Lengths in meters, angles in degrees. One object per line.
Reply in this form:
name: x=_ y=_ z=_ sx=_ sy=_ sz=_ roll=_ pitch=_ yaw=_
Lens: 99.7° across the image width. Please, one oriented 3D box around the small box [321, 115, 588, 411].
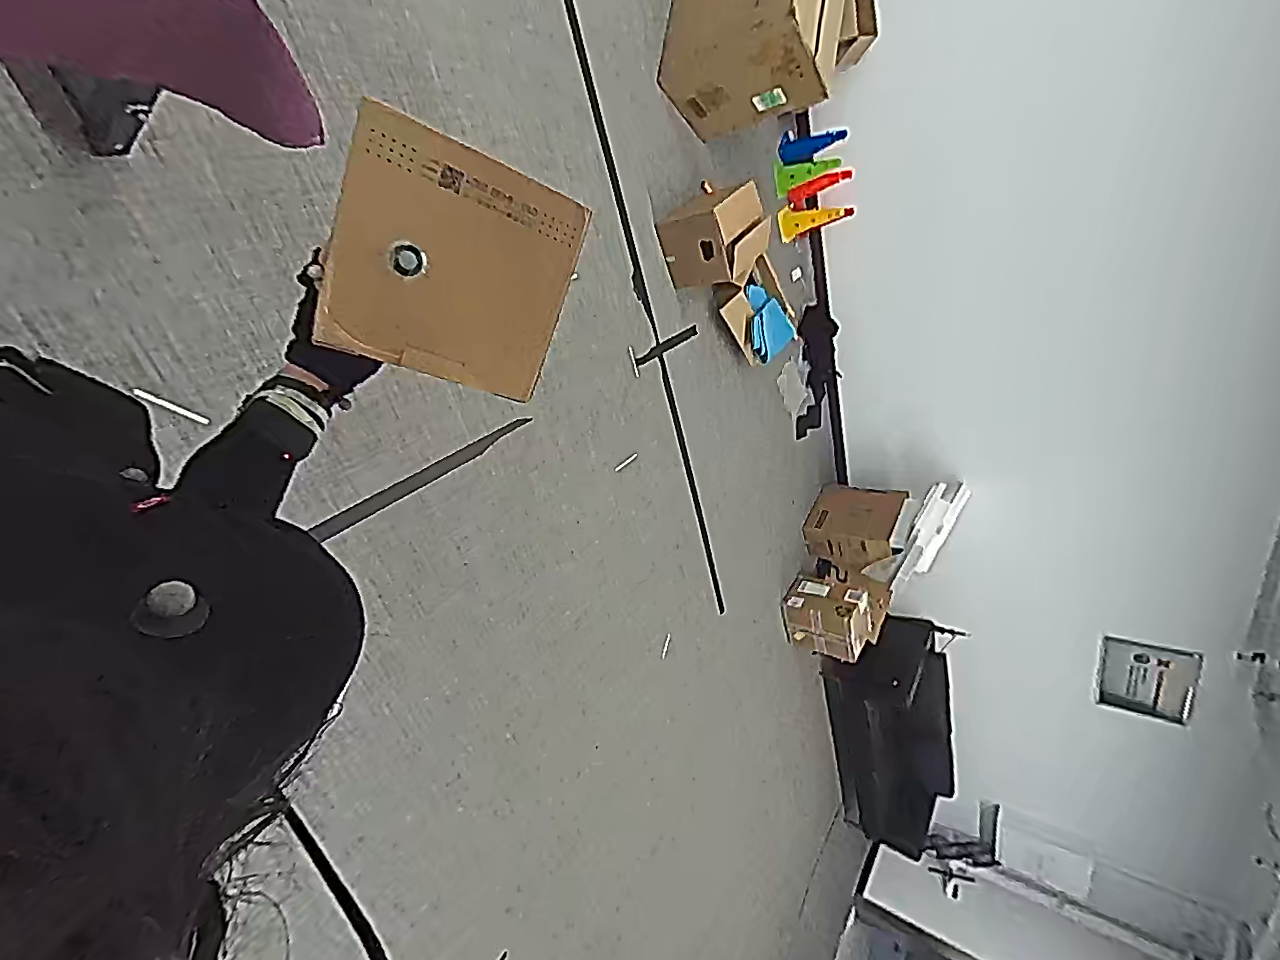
small box: x=-0.162 y=-0.180 z=0.468 sx=0.168 sy=0.179 sz=0.176 roll=16 pitch=105 yaw=-32
